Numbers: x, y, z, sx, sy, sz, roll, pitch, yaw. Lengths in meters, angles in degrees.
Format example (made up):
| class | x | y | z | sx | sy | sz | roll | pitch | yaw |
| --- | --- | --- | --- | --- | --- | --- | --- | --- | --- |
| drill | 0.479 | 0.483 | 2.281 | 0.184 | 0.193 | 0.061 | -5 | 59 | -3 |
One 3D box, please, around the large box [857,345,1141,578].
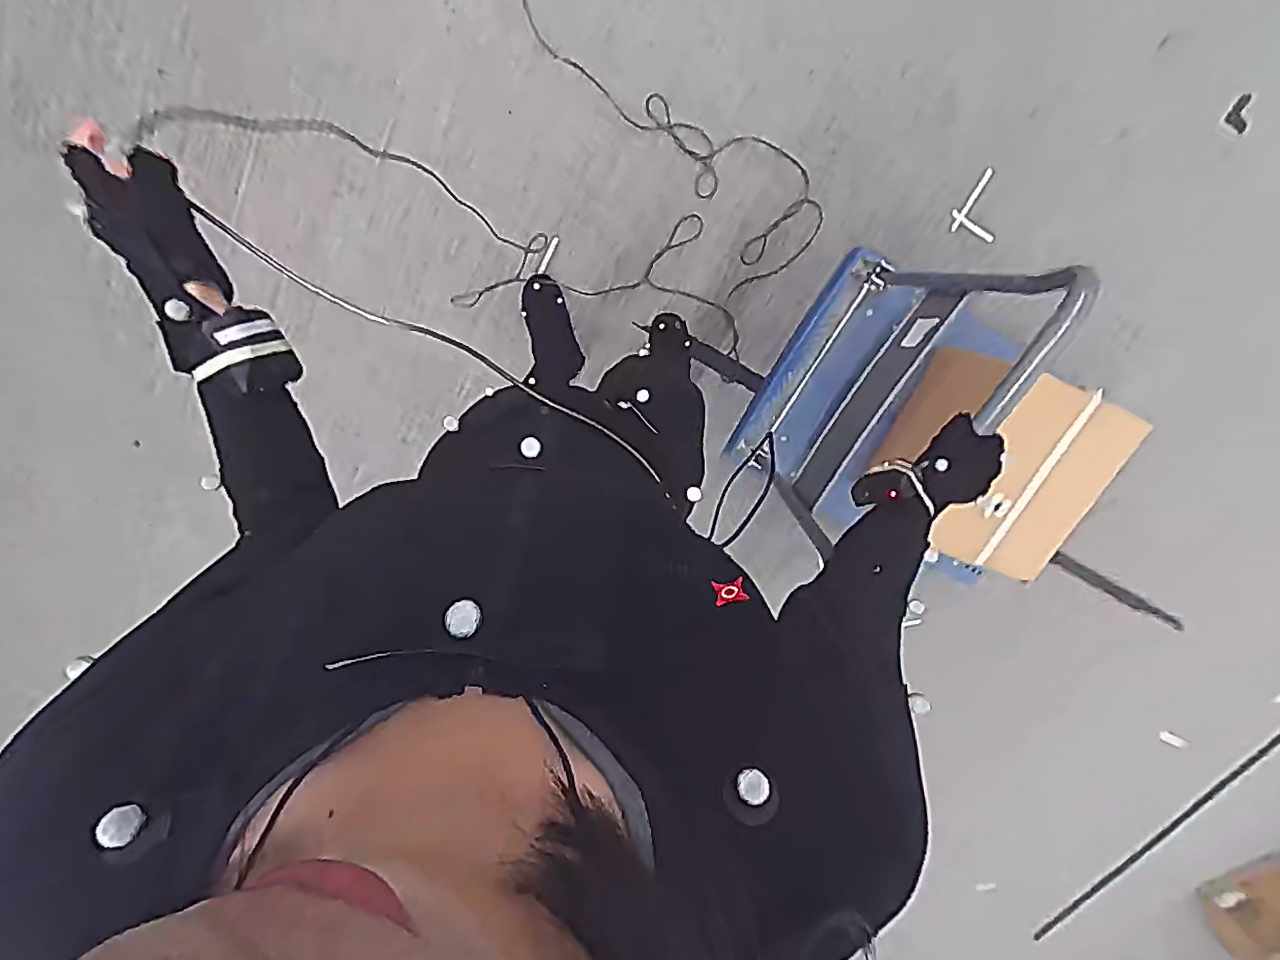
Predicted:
| class | x | y | z | sx | sy | sz | roll | pitch | yaw |
| --- | --- | --- | --- | --- | --- | --- | --- | --- | --- |
| large box | 0.791 | -0.054 | 1.258 | 0.320 | 0.320 | 0.408 | 20 | 110 | -11 |
